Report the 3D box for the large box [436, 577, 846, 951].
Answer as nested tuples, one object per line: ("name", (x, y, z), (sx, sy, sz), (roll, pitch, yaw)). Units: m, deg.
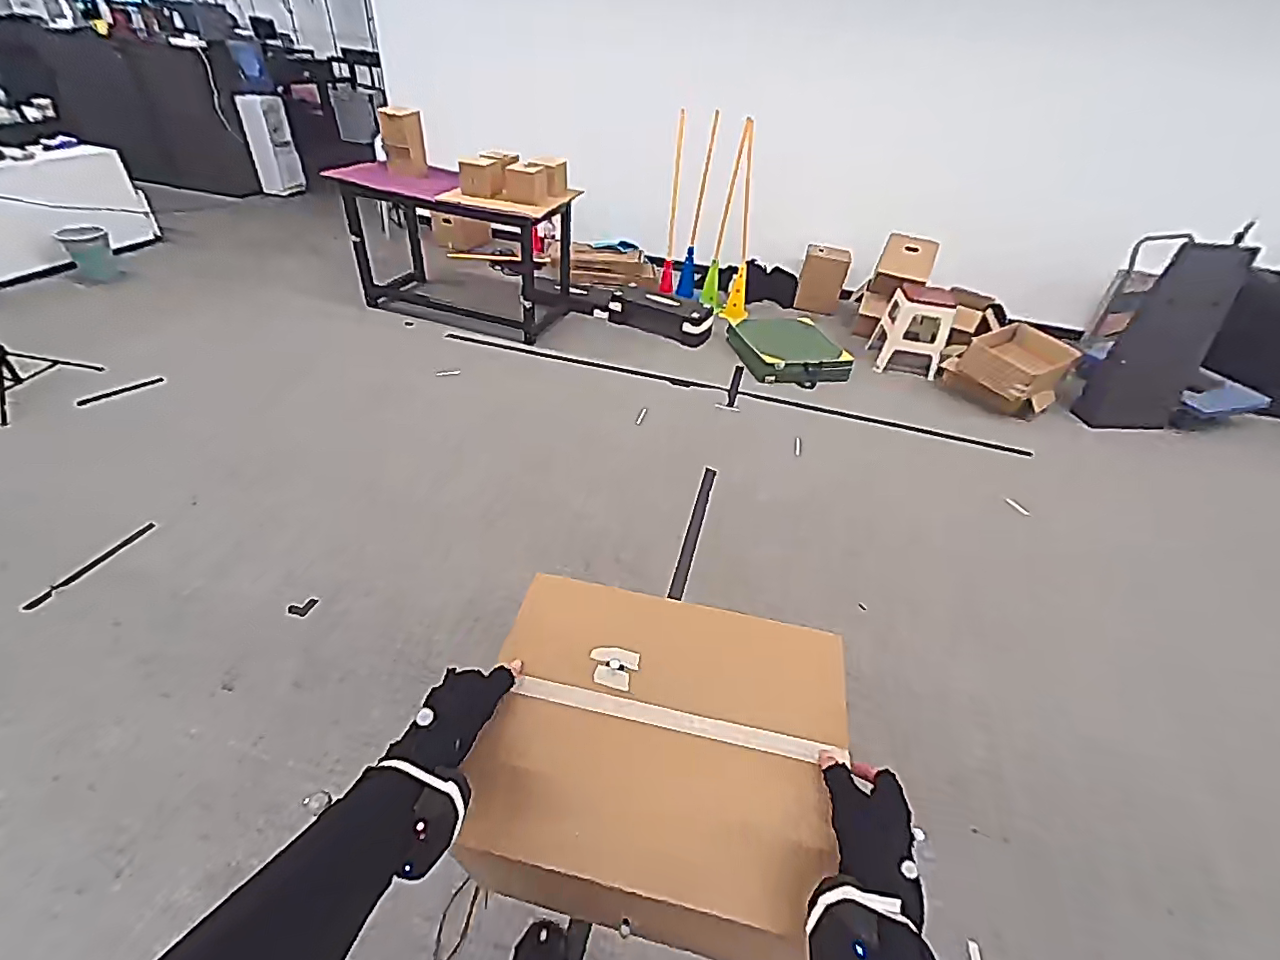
("large box", (0.019, 0.372, 0.717), (0.408, 0.320, 0.320), (10, 45, 8))
